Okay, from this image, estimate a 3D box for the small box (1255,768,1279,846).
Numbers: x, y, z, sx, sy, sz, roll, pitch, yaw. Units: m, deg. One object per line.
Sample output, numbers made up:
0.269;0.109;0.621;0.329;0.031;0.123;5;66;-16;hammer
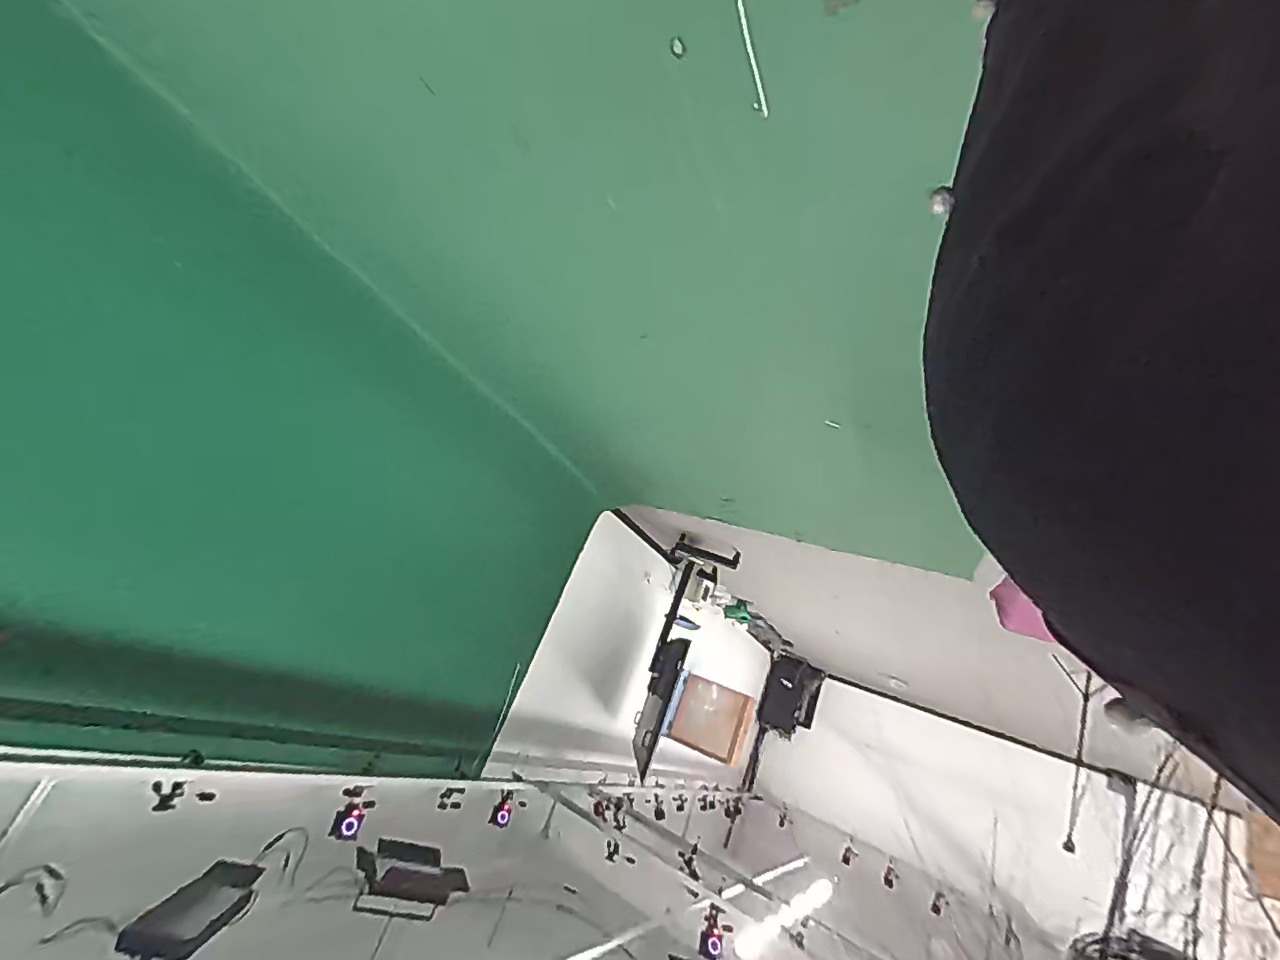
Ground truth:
1.648;0.818;1.312;0.168;0.176;0.179;12;156;30;small box
